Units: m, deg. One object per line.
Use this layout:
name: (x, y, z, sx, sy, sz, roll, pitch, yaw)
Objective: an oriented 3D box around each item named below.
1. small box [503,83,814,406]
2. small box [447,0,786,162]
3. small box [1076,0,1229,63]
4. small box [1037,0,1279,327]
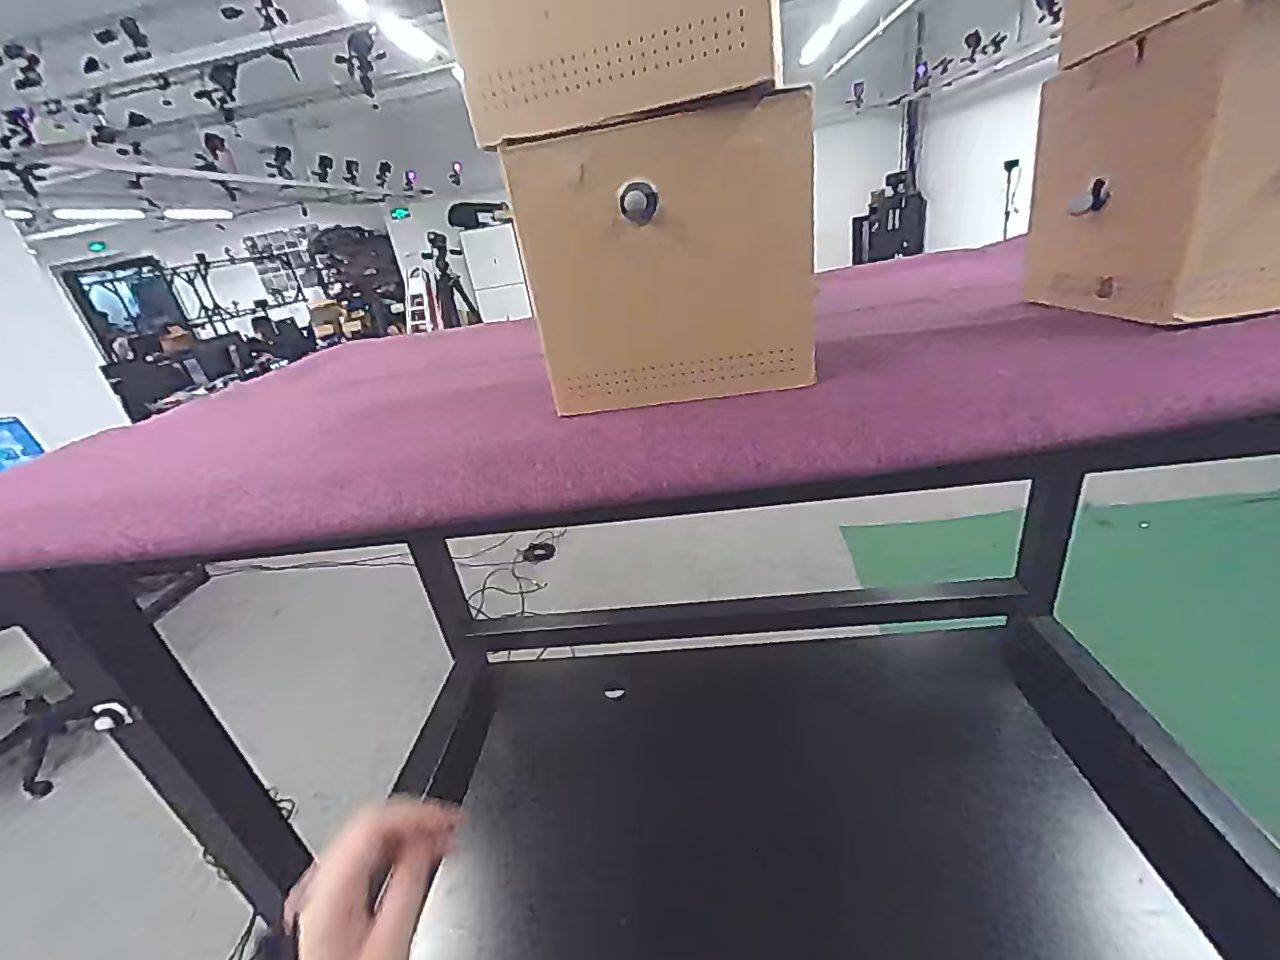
small box: (0.025, -0.160, 0.400, 0.179, 0.176, 0.168, -5, 26, 8)
small box: (-0.004, -0.304, 0.331, 0.179, 0.176, 0.168, -2, 26, 18)
small box: (0.372, -0.349, 0.284, 0.179, 0.176, 0.168, -7, 23, 8)
small box: (0.400, -0.207, 0.359, 0.179, 0.176, 0.168, -8, 23, 9)
